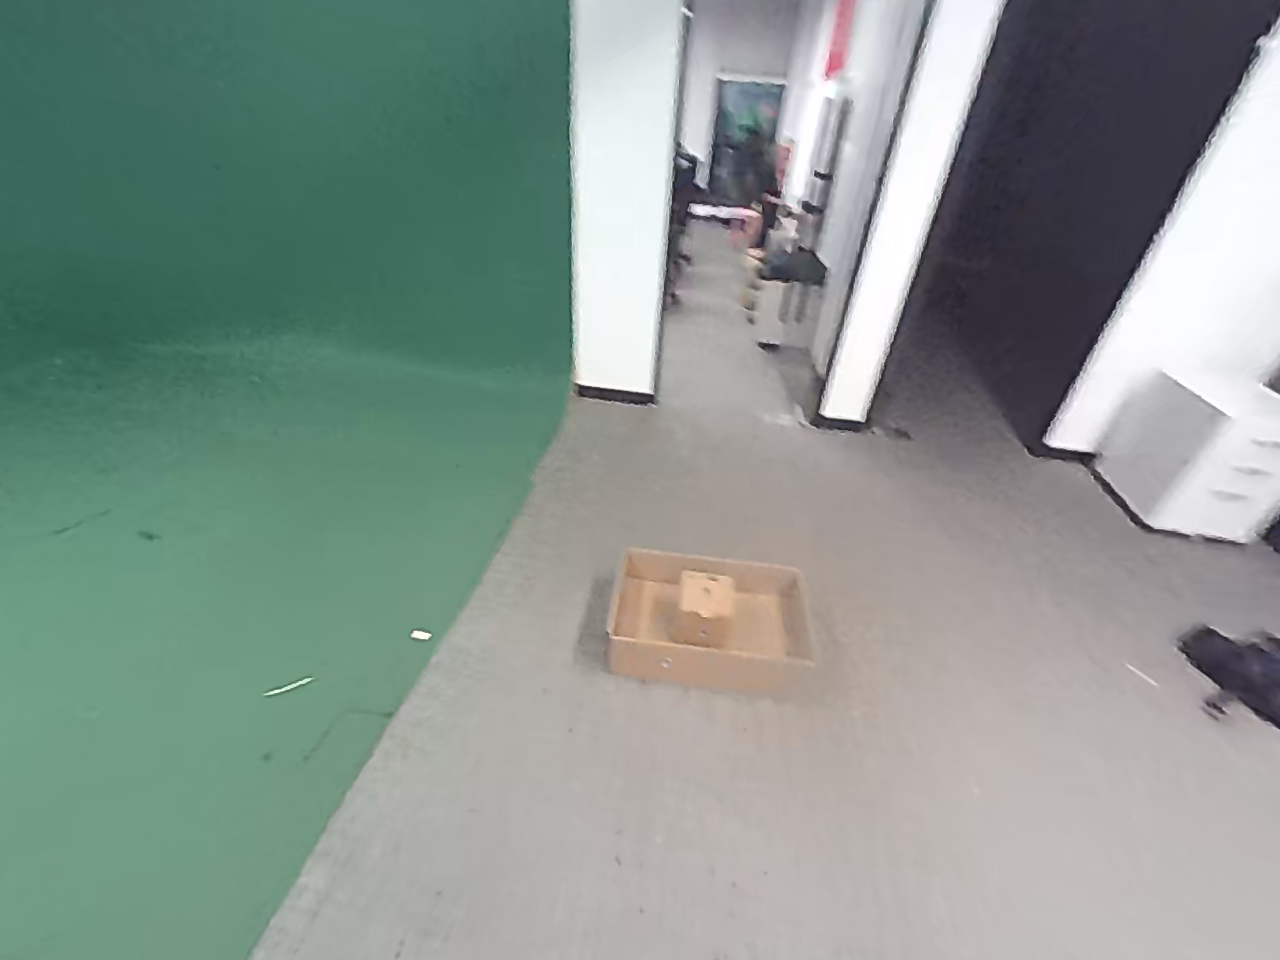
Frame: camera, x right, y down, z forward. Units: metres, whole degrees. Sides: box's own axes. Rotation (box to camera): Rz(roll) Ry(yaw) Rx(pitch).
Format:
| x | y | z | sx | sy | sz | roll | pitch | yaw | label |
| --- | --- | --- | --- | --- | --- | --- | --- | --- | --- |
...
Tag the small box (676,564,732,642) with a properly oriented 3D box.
| x | y | z | sx | sy | sz | roll | pitch | yaw | label |
| --- | --- | --- | --- | --- | --- | --- | --- | --- | --- |
| 0.208 | 0.401 | 1.760 | 0.168 | 0.176 | 0.179 | 7 | 35 | 4 | small box |
